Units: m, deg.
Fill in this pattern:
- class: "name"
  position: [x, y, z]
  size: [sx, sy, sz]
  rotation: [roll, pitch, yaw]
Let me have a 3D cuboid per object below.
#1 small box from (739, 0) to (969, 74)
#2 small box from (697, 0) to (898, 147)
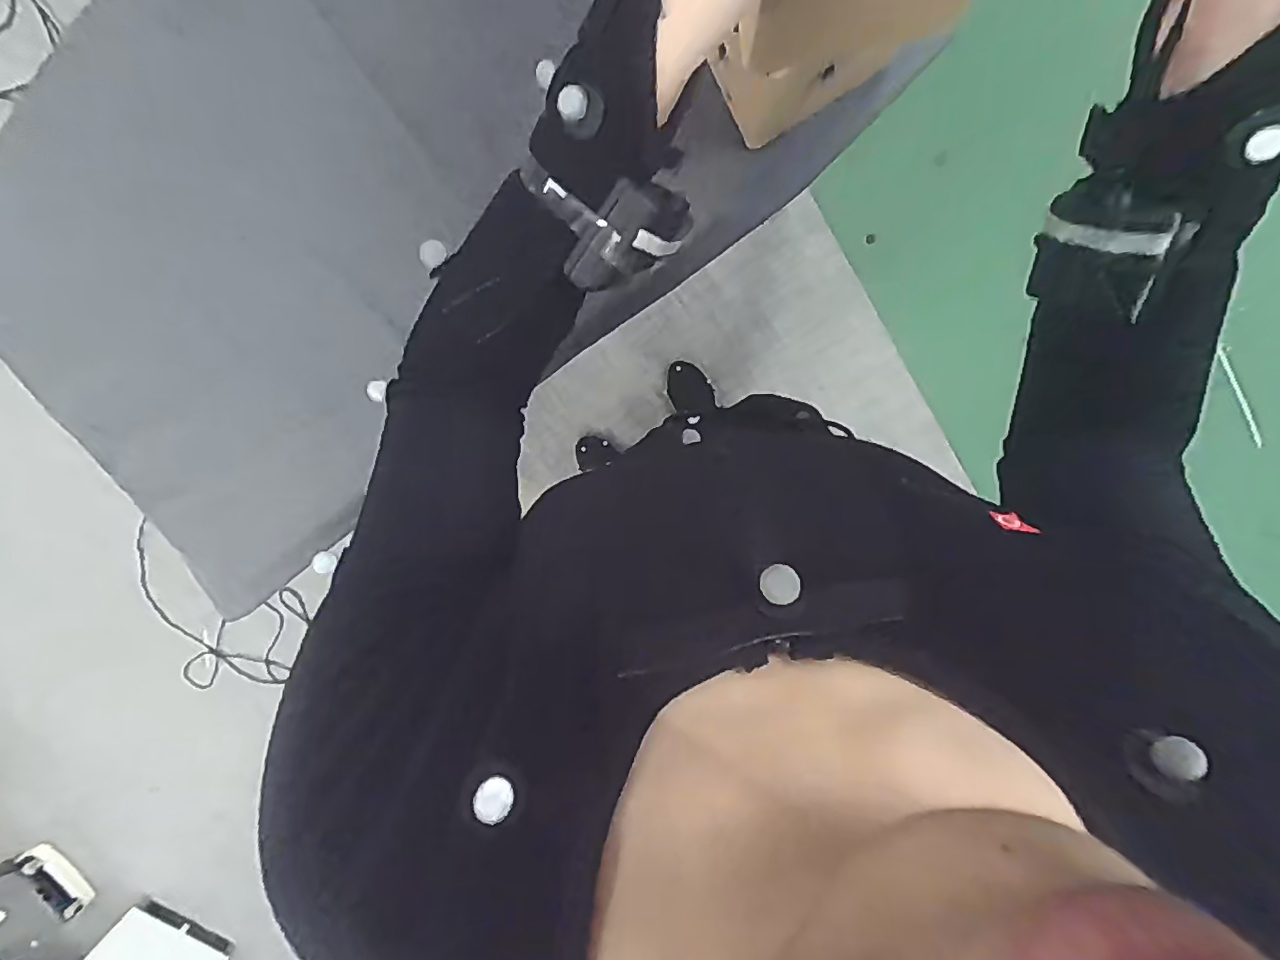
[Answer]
- class: "small box"
  position: [0.157, -0.421, 0.372]
  size: [0.179, 0.176, 0.168]
  rotation: [-7, 102, 7]
- class: "small box"
  position: [0.162, -0.471, 0.529]
  size: [0.179, 0.176, 0.168]
  rotation: [-27, 99, 12]
